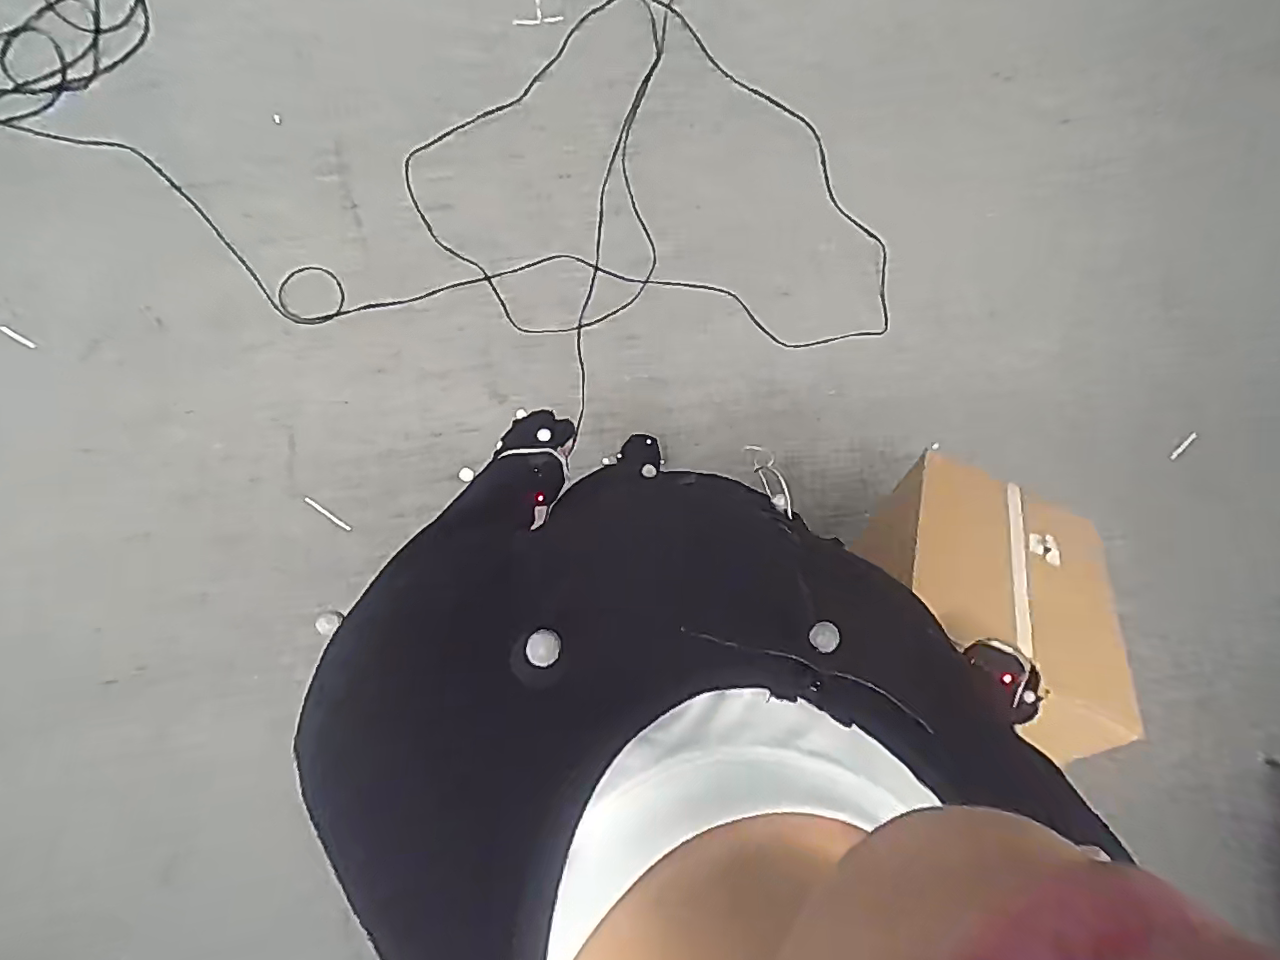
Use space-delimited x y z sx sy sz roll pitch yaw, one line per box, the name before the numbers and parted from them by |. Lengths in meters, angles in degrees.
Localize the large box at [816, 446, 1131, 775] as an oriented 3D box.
large box | 0.546 0.221 0.957 0.320 0.320 0.408 26 47 8
